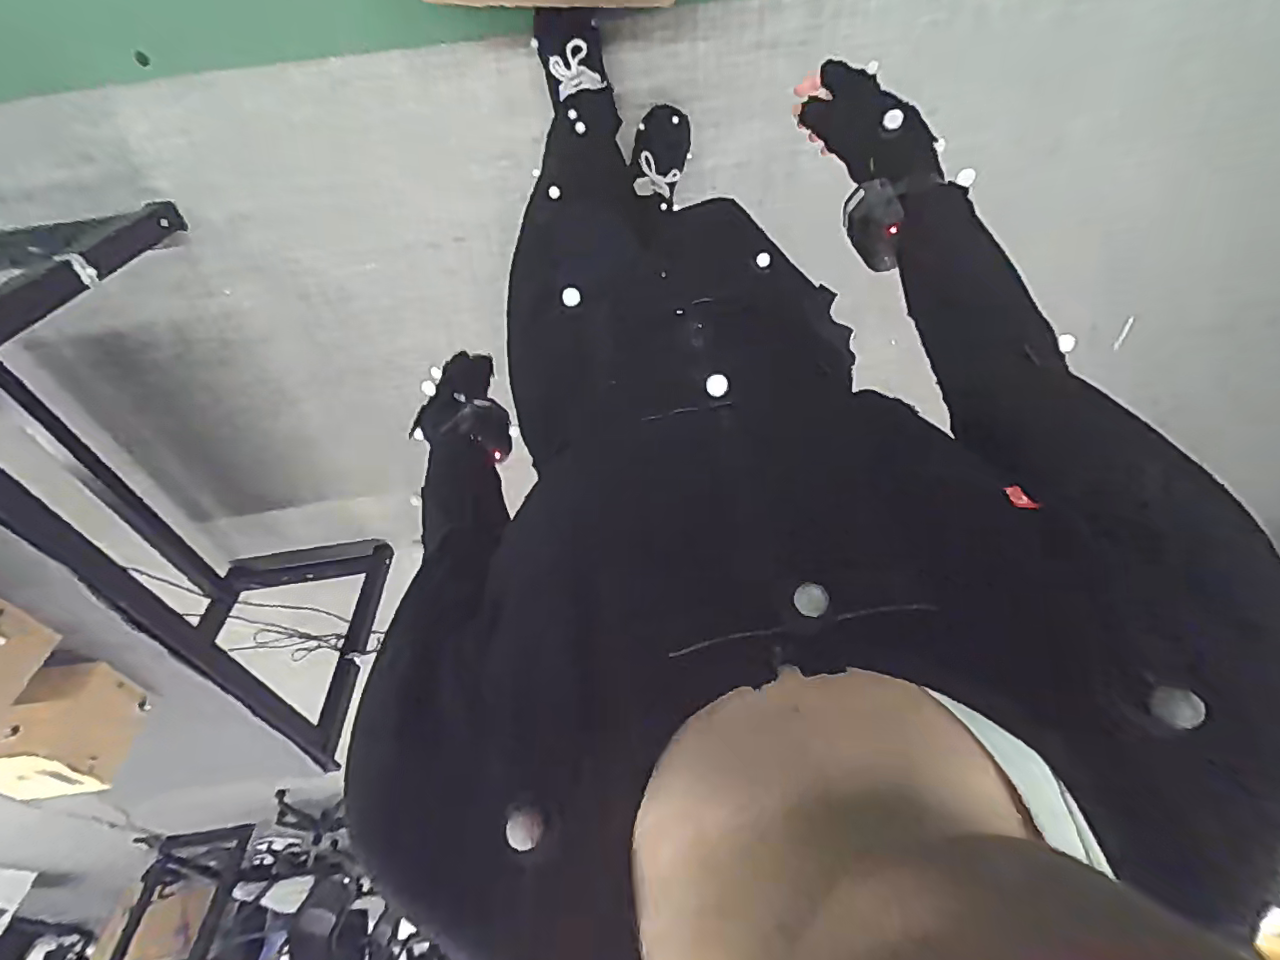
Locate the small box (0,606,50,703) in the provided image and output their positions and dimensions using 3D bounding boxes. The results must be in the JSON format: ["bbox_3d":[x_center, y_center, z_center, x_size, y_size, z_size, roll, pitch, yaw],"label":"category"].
[{"bbox_3d":[-1.079,0.283,0.808,0.179,0.176,0.168,-9,133,0],"label":"small box"}]

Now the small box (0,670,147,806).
[{"bbox_3d":[-1.053,0.459,0.973,0.179,0.176,0.168,-7,132,-1],"label":"small box"}]
